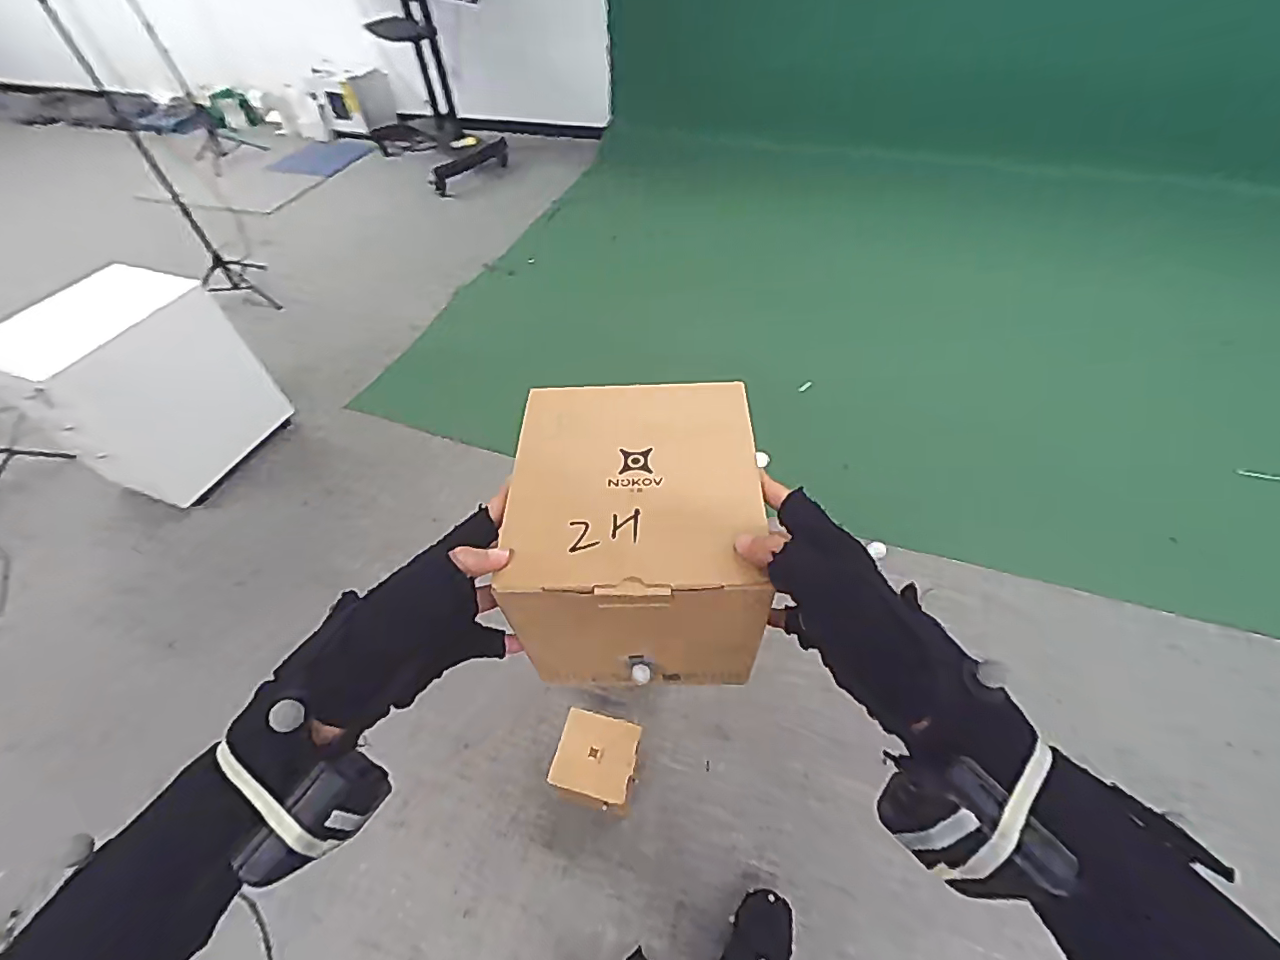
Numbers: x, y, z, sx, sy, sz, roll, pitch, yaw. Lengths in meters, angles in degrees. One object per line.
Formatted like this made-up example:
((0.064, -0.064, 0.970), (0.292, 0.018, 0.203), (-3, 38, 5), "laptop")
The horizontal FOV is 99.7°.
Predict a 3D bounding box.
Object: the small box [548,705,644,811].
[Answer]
((-0.094, 0.651, 1.260), (0.179, 0.176, 0.168), (10, 52, 10), "small box")

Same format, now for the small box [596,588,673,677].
((-0.009, 0.414, 1.454), (0.179, 0.176, 0.168), (6, 50, 8), "small box")
